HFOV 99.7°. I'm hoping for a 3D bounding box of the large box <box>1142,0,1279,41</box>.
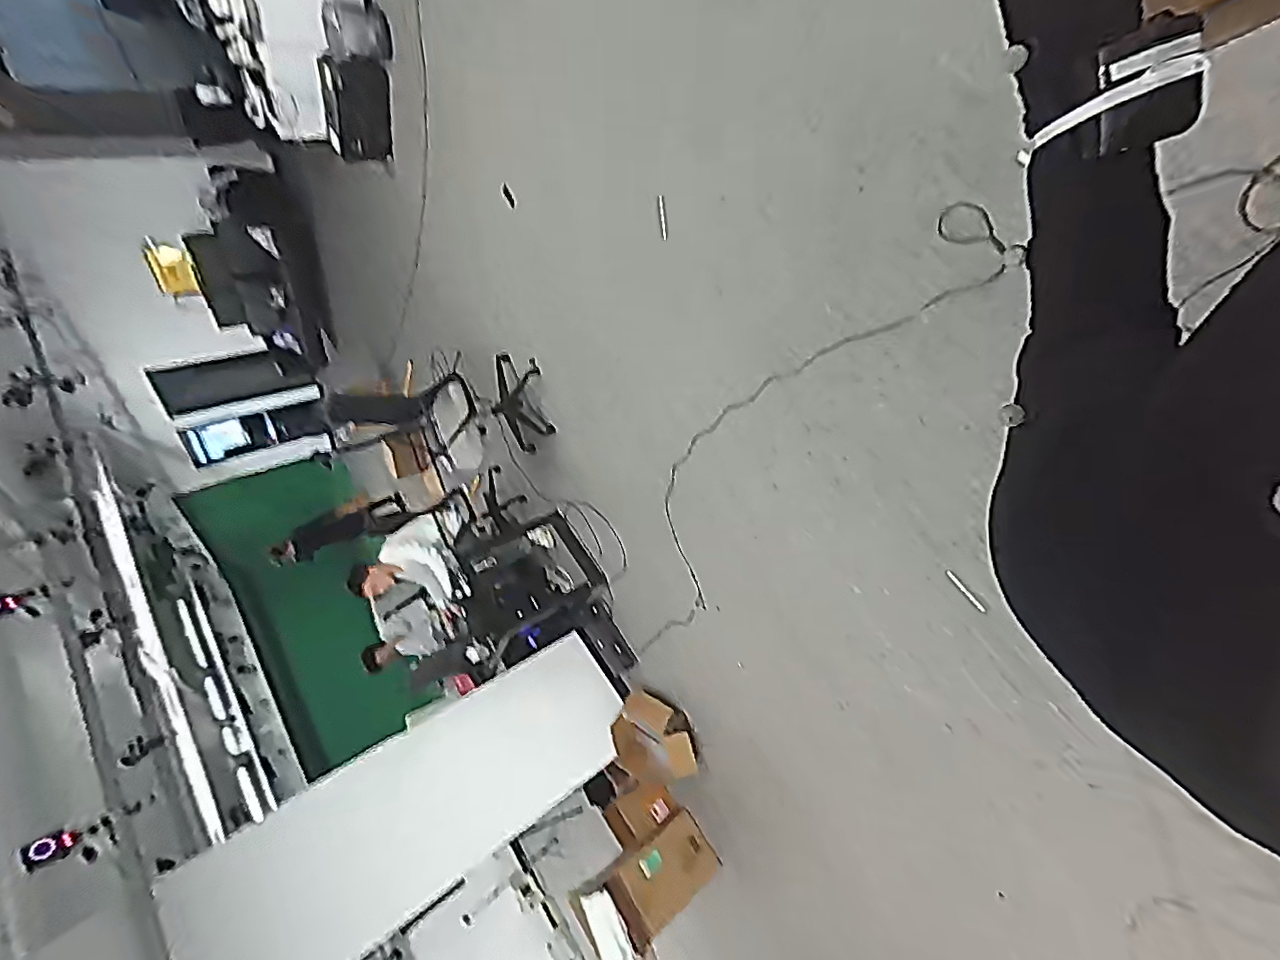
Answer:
[{"bbox_3d":[0.497,-0.510,0.249,0.408,0.320,0.320,-5,110,54],"label":"large box"}]
